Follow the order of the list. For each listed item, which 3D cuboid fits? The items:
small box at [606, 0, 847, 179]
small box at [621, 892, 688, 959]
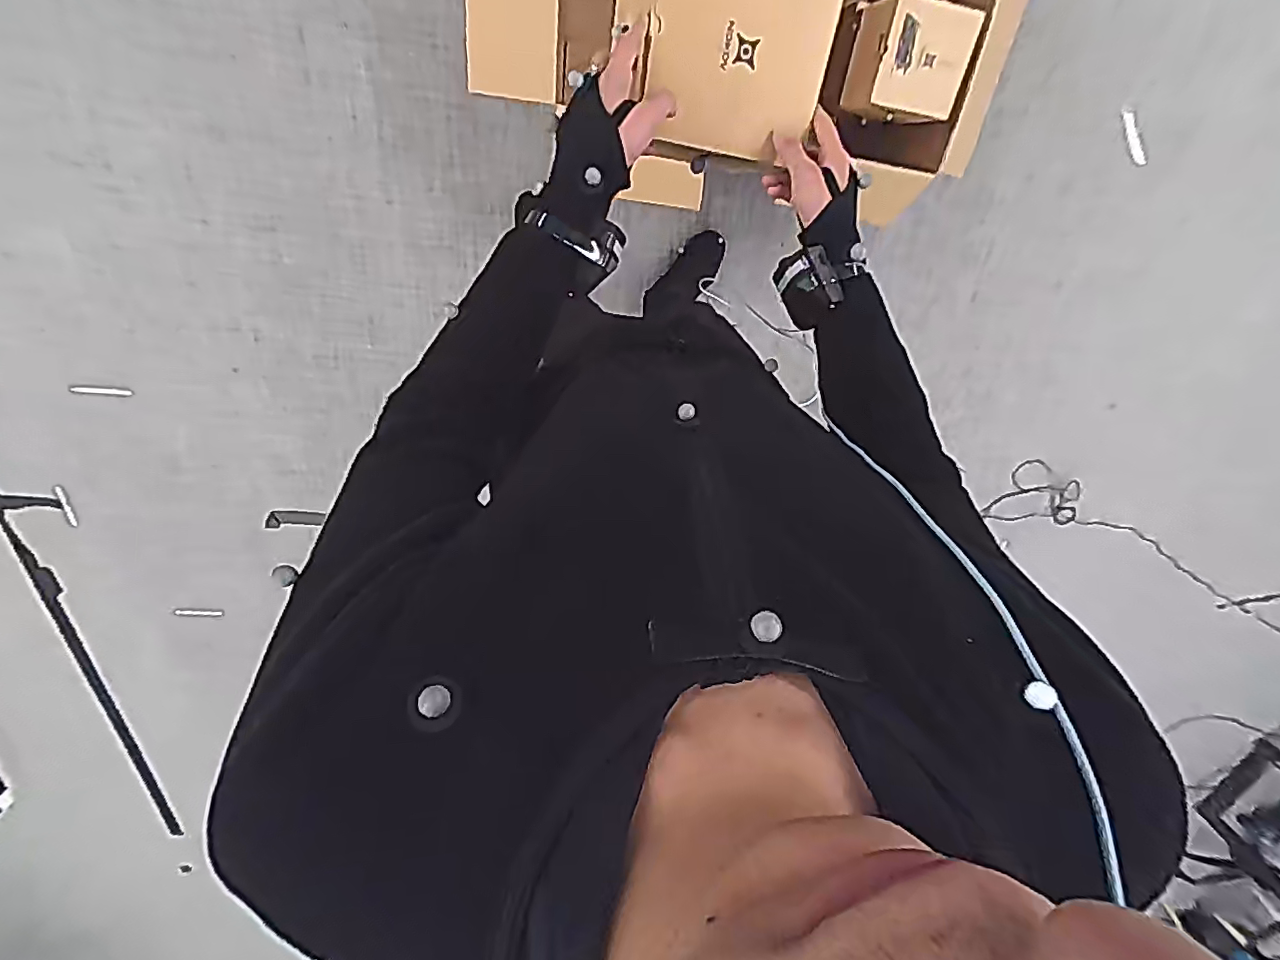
[{"bbox_3d":[0.073,-0.418,0.552,0.179,0.176,0.168,2,119,-16],"label":"small box"},{"bbox_3d":[0.034,1.315,1.550,0.168,0.176,0.179,2,119,-6],"label":"small box"}]
